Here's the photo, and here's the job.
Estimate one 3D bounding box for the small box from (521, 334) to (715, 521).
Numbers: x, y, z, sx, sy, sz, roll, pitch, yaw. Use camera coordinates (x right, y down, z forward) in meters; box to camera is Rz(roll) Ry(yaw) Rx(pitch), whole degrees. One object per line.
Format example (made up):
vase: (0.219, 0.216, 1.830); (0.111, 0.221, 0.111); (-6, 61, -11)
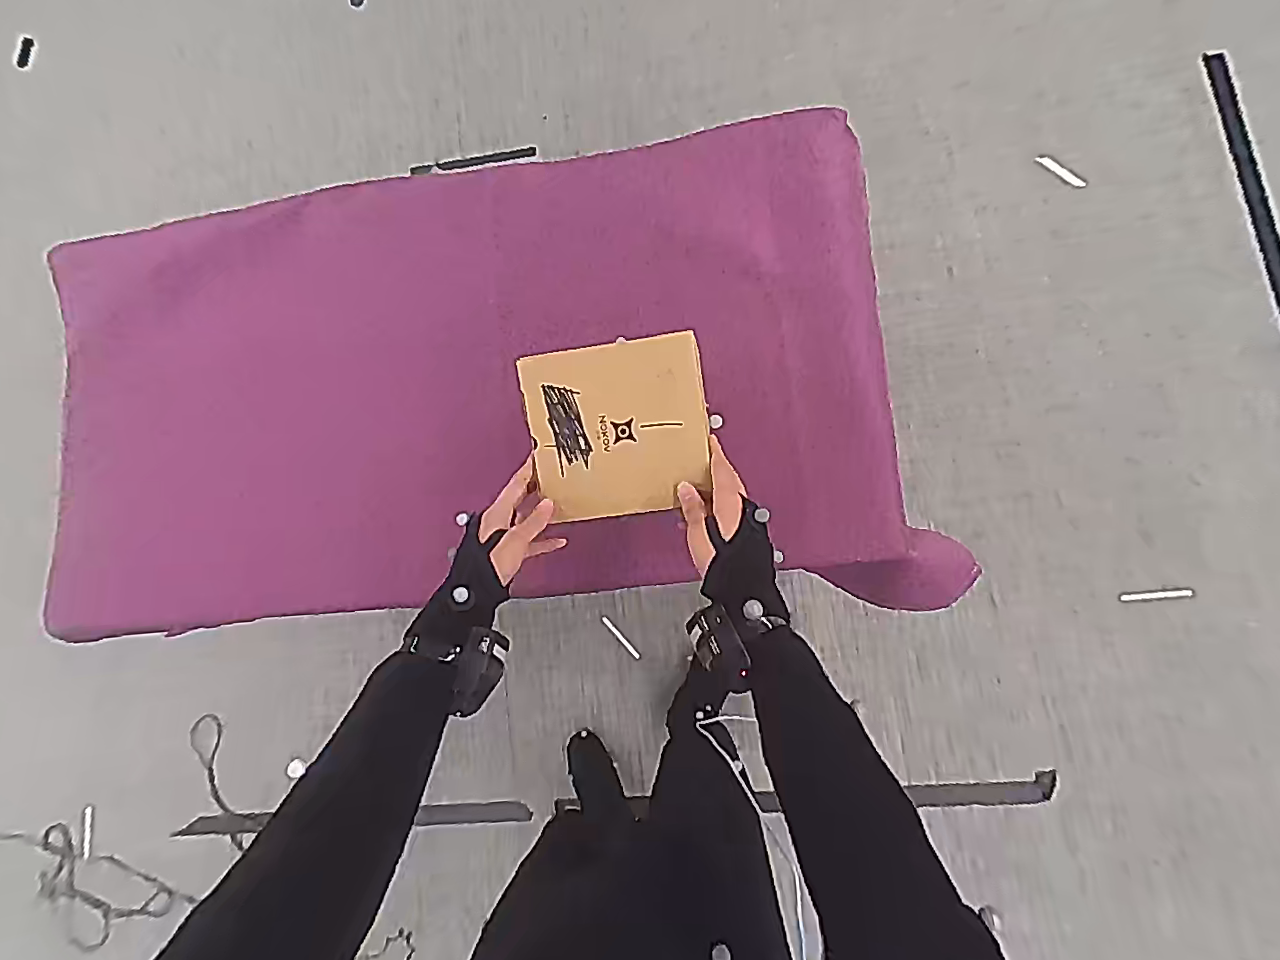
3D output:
small box: (-0.011, -0.055, 0.601); (0.179, 0.176, 0.168); (-7, 96, 8)
